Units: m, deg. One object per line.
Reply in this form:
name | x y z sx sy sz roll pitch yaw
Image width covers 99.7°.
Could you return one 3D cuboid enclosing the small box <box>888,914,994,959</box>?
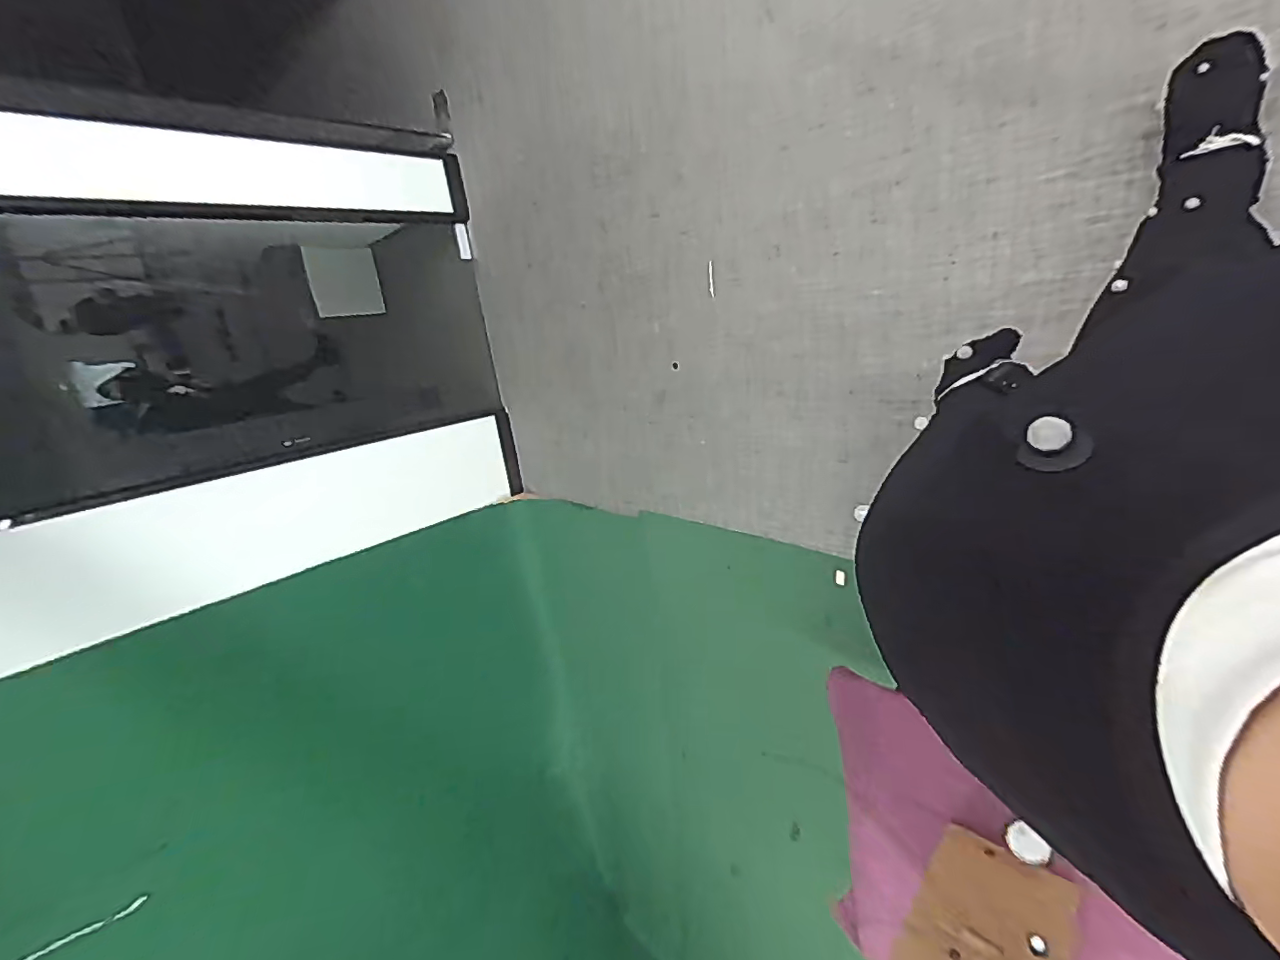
small box | 0.391 0.709 0.665 0.168 0.176 0.179 6 111 45
